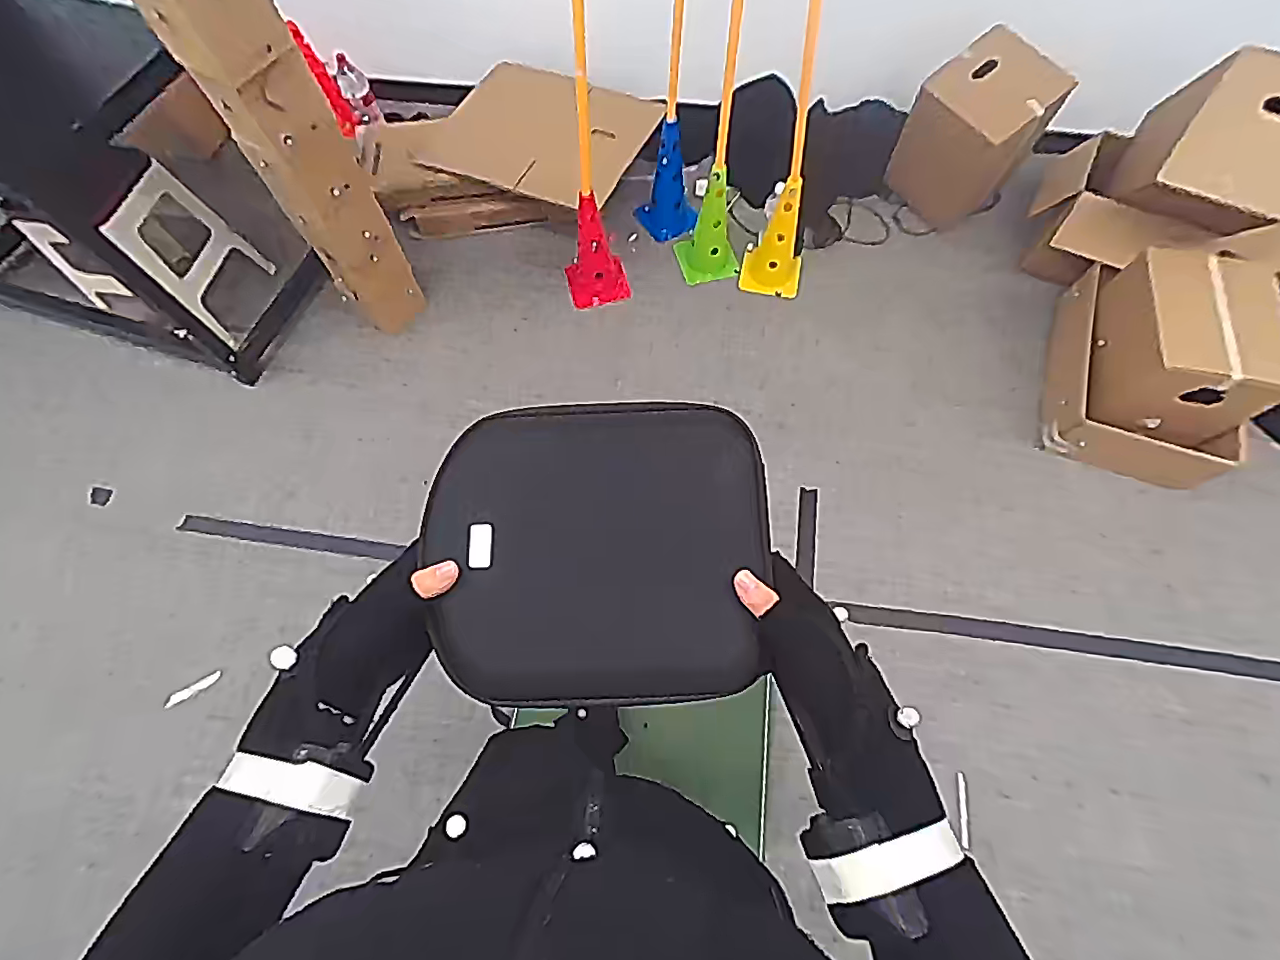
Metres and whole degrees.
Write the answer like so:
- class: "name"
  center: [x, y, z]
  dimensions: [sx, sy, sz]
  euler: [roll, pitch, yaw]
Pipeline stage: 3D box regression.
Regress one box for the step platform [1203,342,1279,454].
- class: "step platform"
  center: [2.121, -0.326, 1.616]
  dimensions: [0.684, 0.204, 0.286]
  euler: [-19, 68, -7]
